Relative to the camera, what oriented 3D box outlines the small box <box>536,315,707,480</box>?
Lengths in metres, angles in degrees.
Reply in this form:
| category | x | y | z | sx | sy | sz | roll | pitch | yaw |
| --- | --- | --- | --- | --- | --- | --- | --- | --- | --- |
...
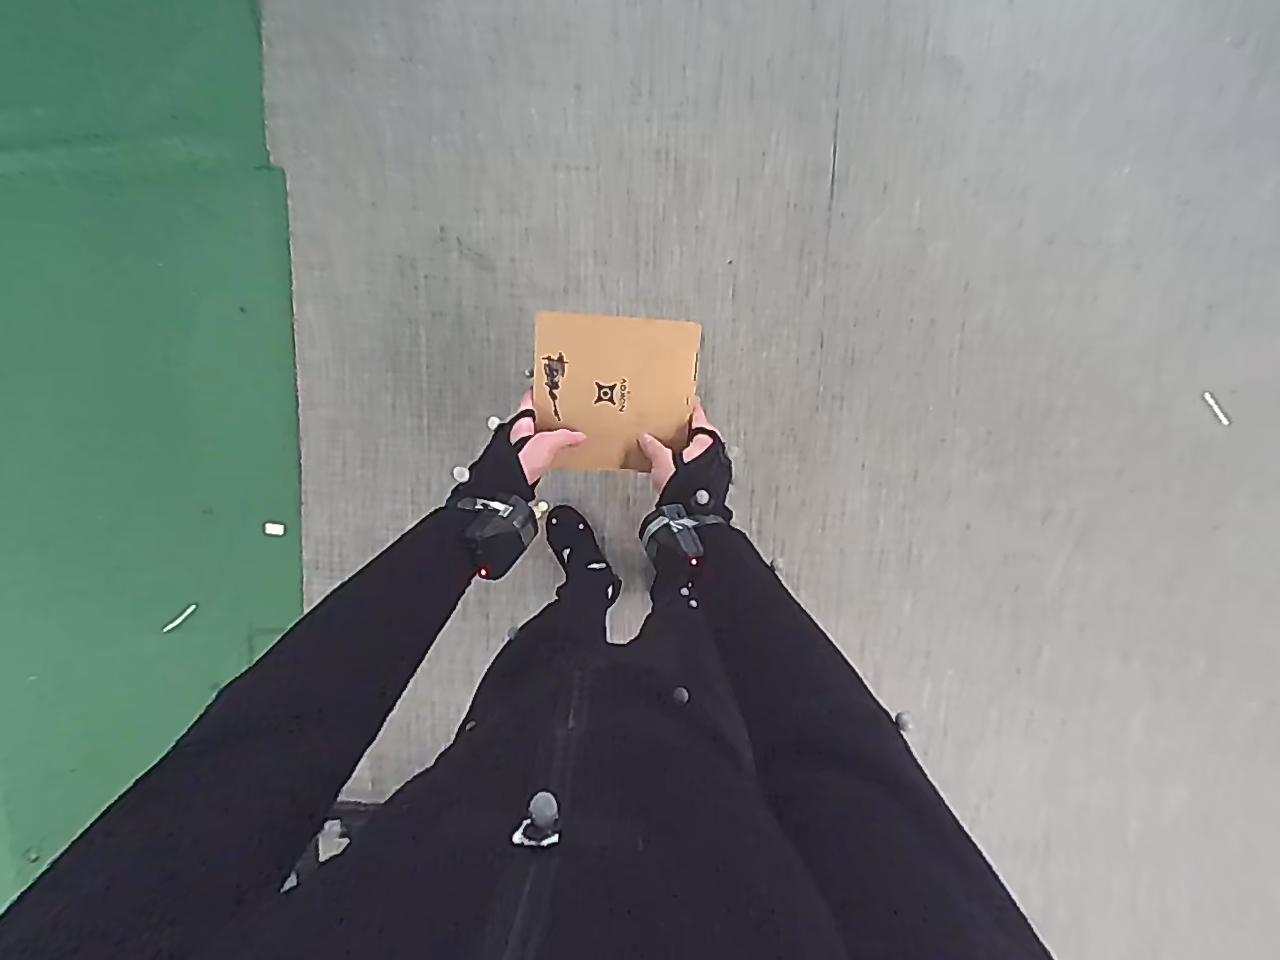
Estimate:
| category | x | y | z | sx | sy | sz | roll | pitch | yaw |
| --- | --- | --- | --- | --- | --- | --- | --- | --- | --- |
| small box | -0.023 | -0.101 | 0.661 | 0.179 | 0.176 | 0.168 | 5 | 100 | -1 |
